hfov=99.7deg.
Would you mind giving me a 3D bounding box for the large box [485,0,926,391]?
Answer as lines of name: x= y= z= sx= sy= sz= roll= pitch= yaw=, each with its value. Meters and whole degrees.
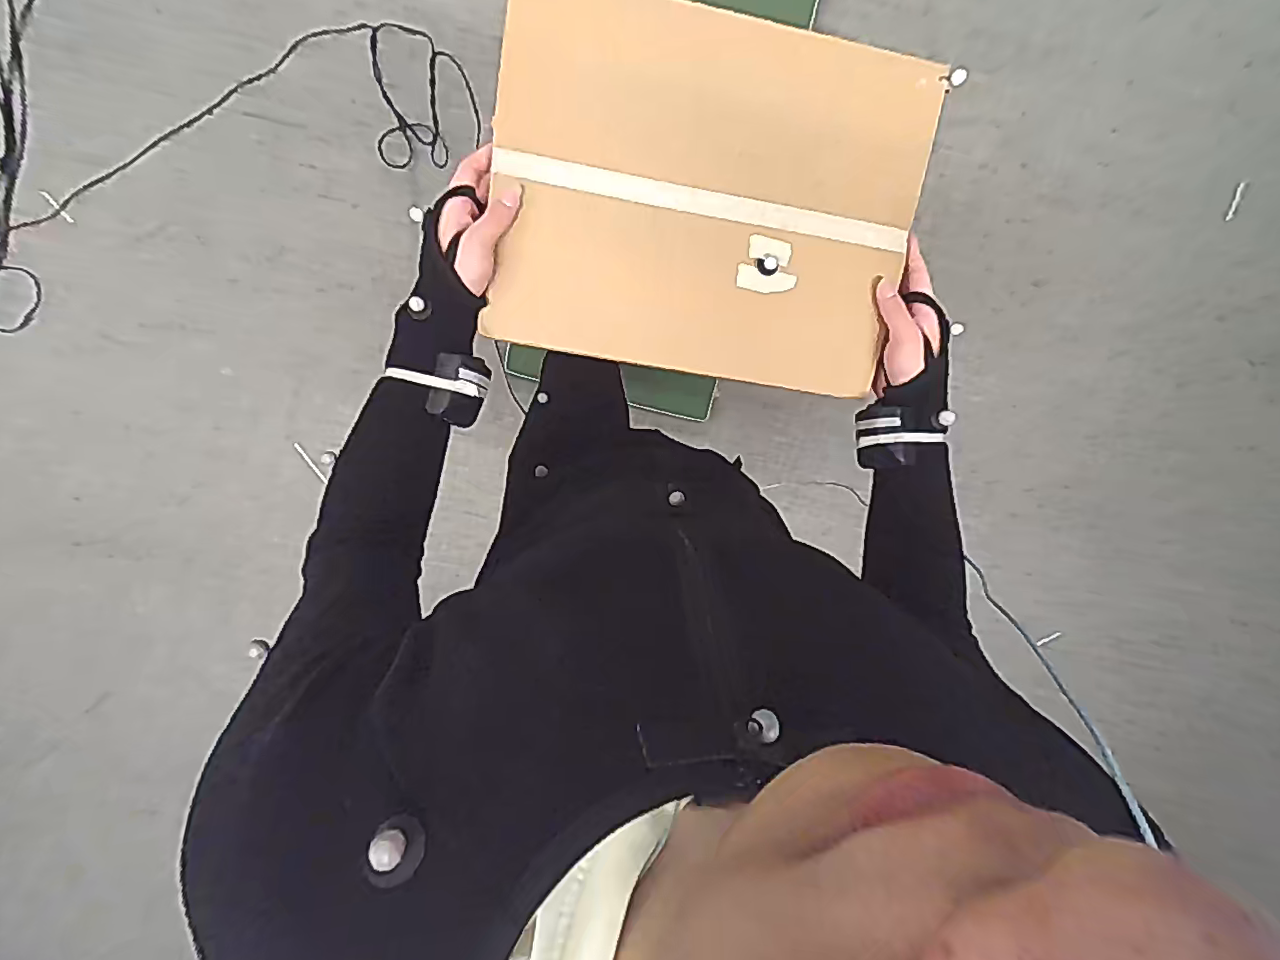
large box: x=0.046 y=-0.299 z=0.672 sx=0.408 sy=0.320 sz=0.320 roll=8 pitch=103 yaw=-7
